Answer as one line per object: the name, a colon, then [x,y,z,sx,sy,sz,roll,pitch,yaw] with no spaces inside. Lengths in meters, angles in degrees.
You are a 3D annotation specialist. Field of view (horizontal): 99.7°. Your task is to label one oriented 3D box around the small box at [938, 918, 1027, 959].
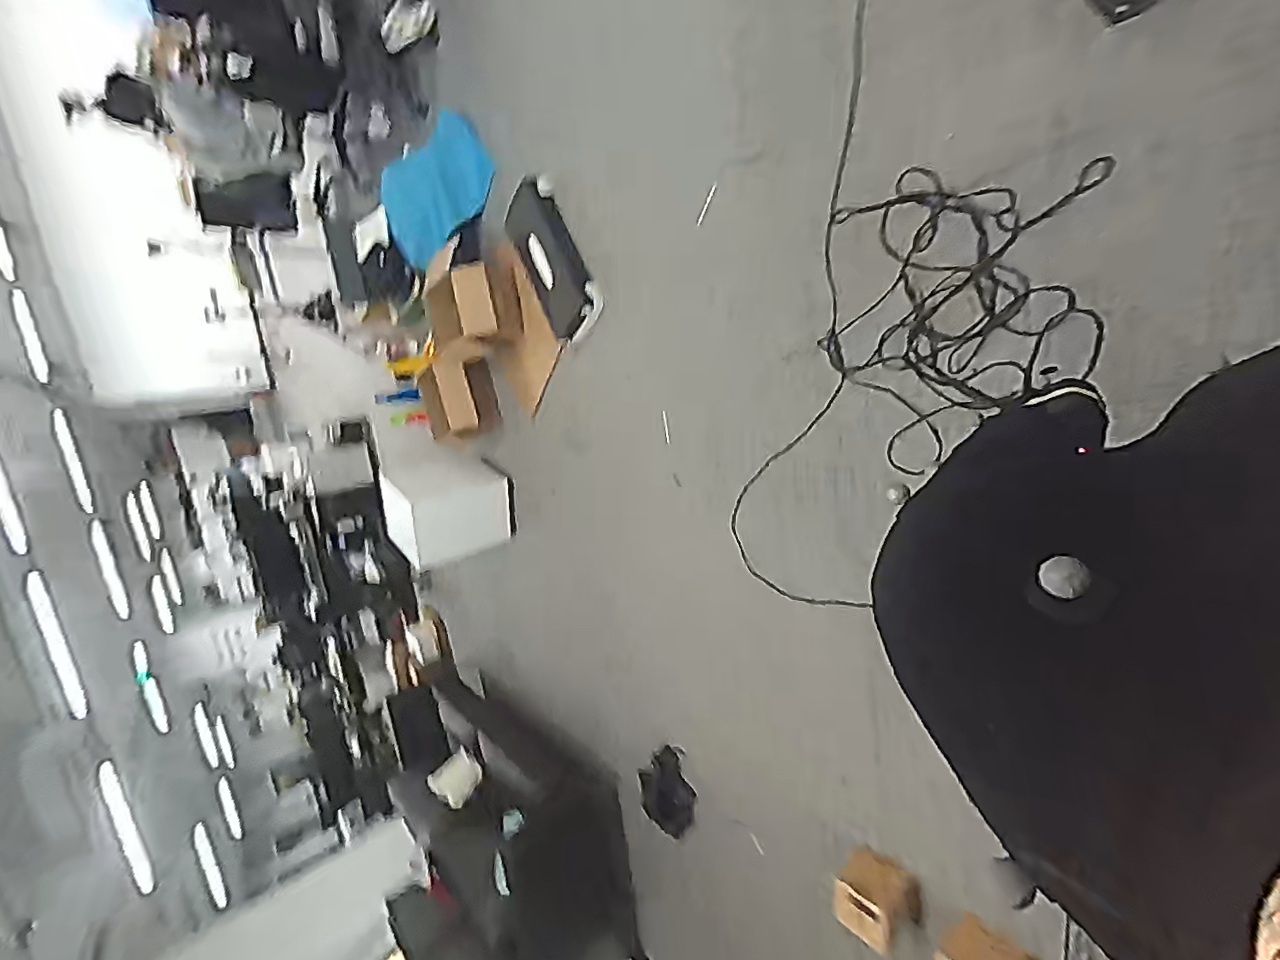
small box: [0.916,1.338,1.433,0.168,0.176,0.179,4,105,51]
